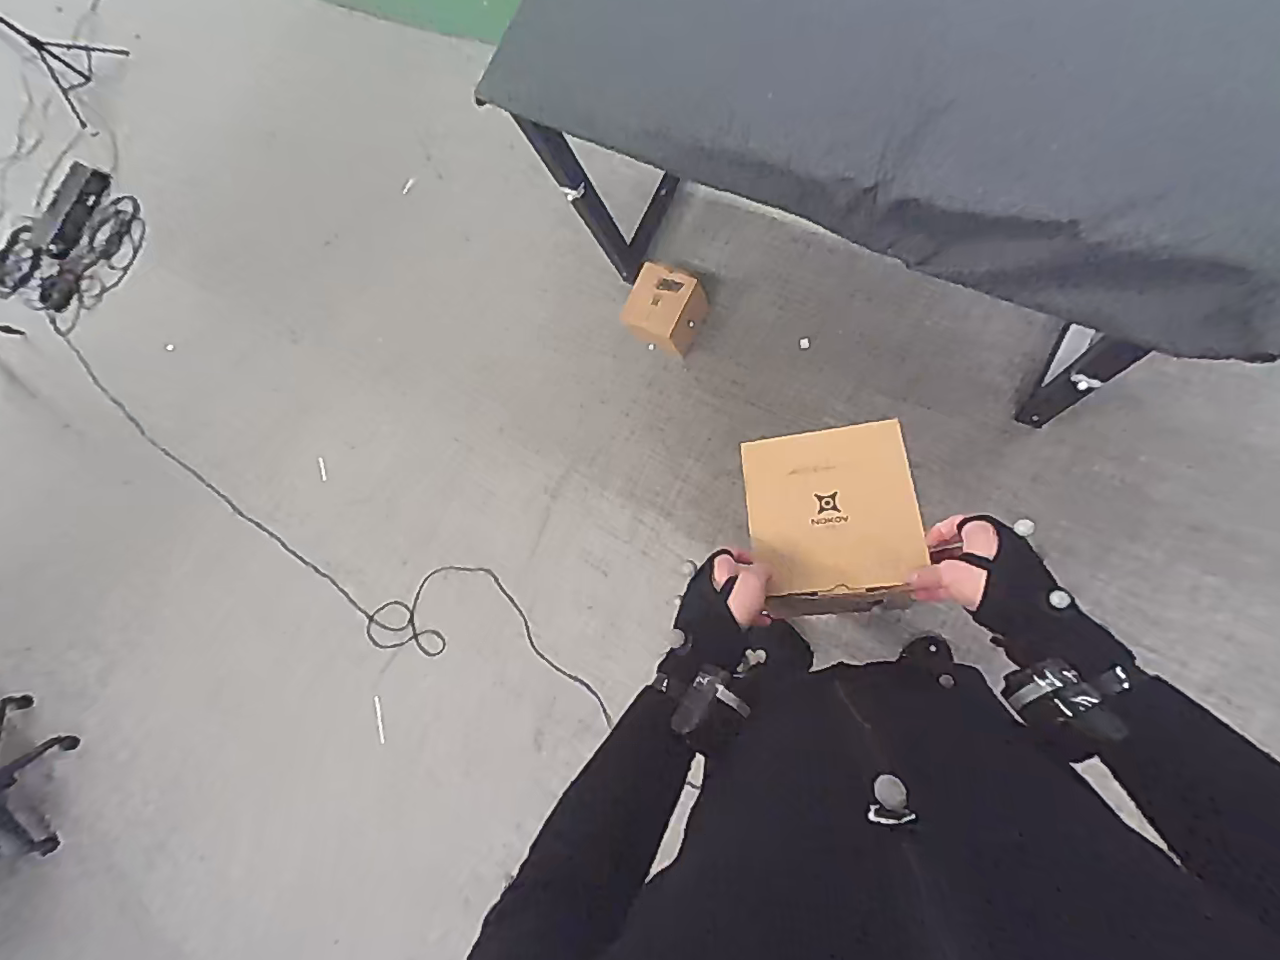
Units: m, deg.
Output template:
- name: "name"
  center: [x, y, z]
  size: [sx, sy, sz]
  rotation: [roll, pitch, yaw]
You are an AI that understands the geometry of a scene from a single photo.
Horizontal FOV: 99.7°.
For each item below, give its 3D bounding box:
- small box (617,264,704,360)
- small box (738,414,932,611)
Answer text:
- name: "small box"
  center: [0.066, -0.466, 1.517]
  size: [0.168, 0.176, 0.179]
  rotation: [26, 91, 21]
- name: "small box"
  center: [0.213, 0.050, 0.614]
  size: [0.168, 0.176, 0.179]
  rotation: [-9, 67, 16]
